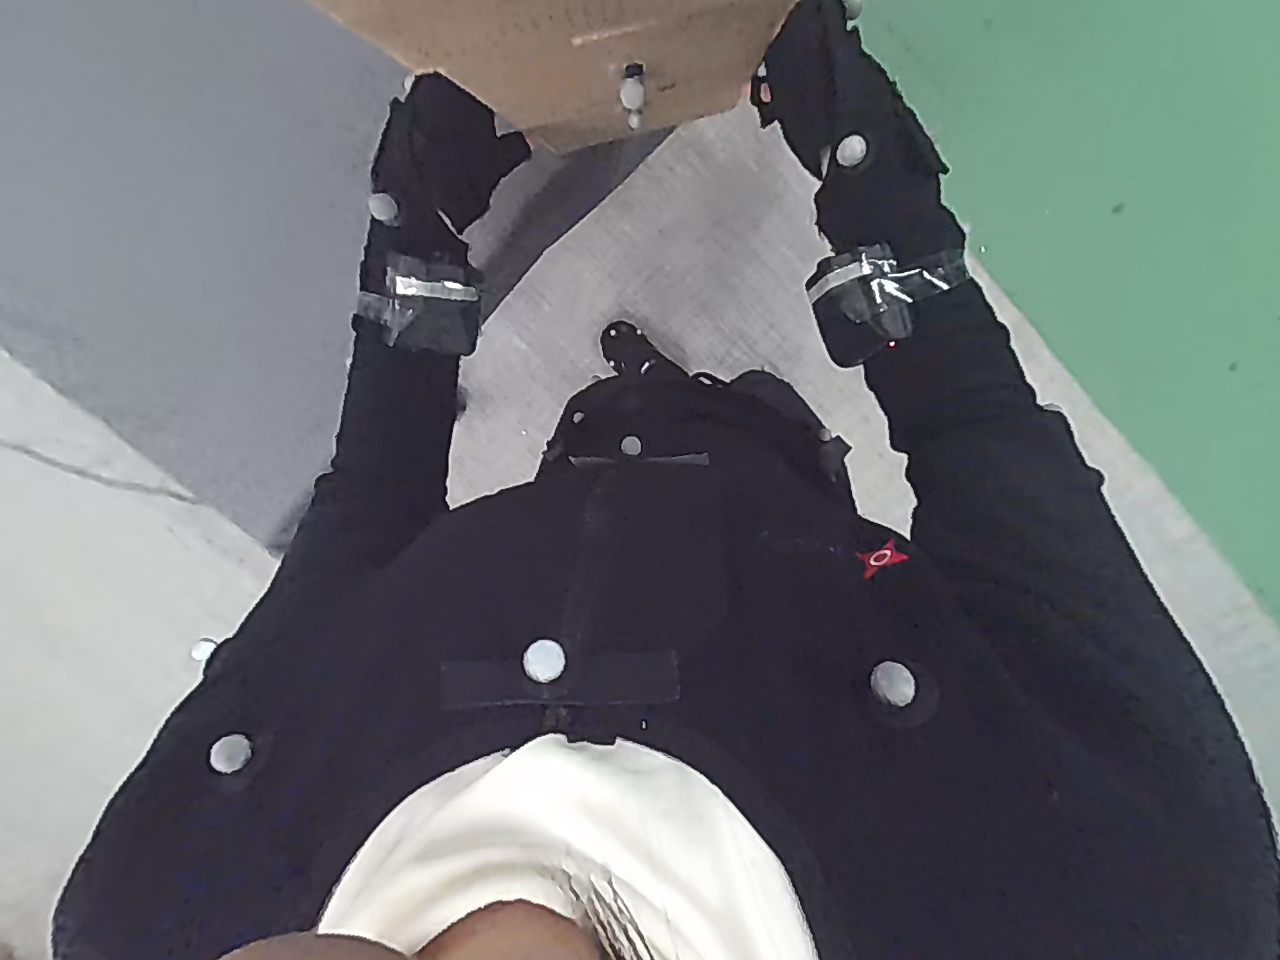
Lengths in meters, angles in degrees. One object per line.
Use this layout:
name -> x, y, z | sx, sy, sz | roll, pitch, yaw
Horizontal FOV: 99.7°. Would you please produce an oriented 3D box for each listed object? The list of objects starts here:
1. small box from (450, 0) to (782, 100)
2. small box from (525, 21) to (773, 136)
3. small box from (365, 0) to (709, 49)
small box -> -0.016, -0.309, 0.264 | 0.168, 0.176, 0.179 | -9, 115, 6
small box -> -0.008, -0.382, 0.411 | 0.179, 0.176, 0.168 | -10, 115, 5
small box -> -0.020, -0.230, 0.119 | 0.179, 0.176, 0.168 | -7, 115, 6
